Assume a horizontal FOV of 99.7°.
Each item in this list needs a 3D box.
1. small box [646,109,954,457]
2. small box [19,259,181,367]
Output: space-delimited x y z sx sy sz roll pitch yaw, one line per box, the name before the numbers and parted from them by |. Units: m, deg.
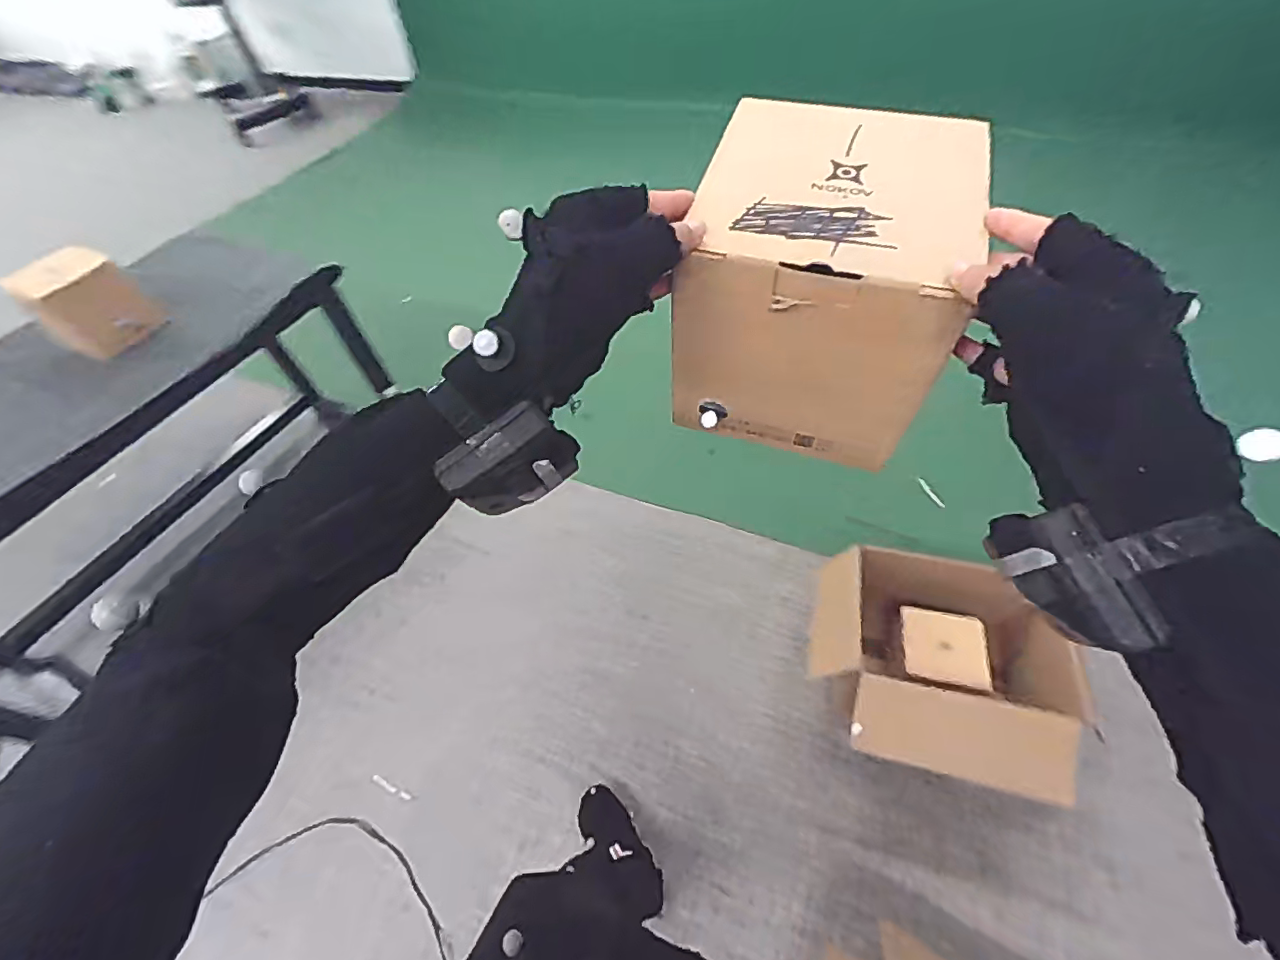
small box | 0.112 -0.140 0.405 0.168 0.176 0.179 13 60 12
small box | -1.250 -0.388 1.264 0.179 0.176 0.168 19 57 20
